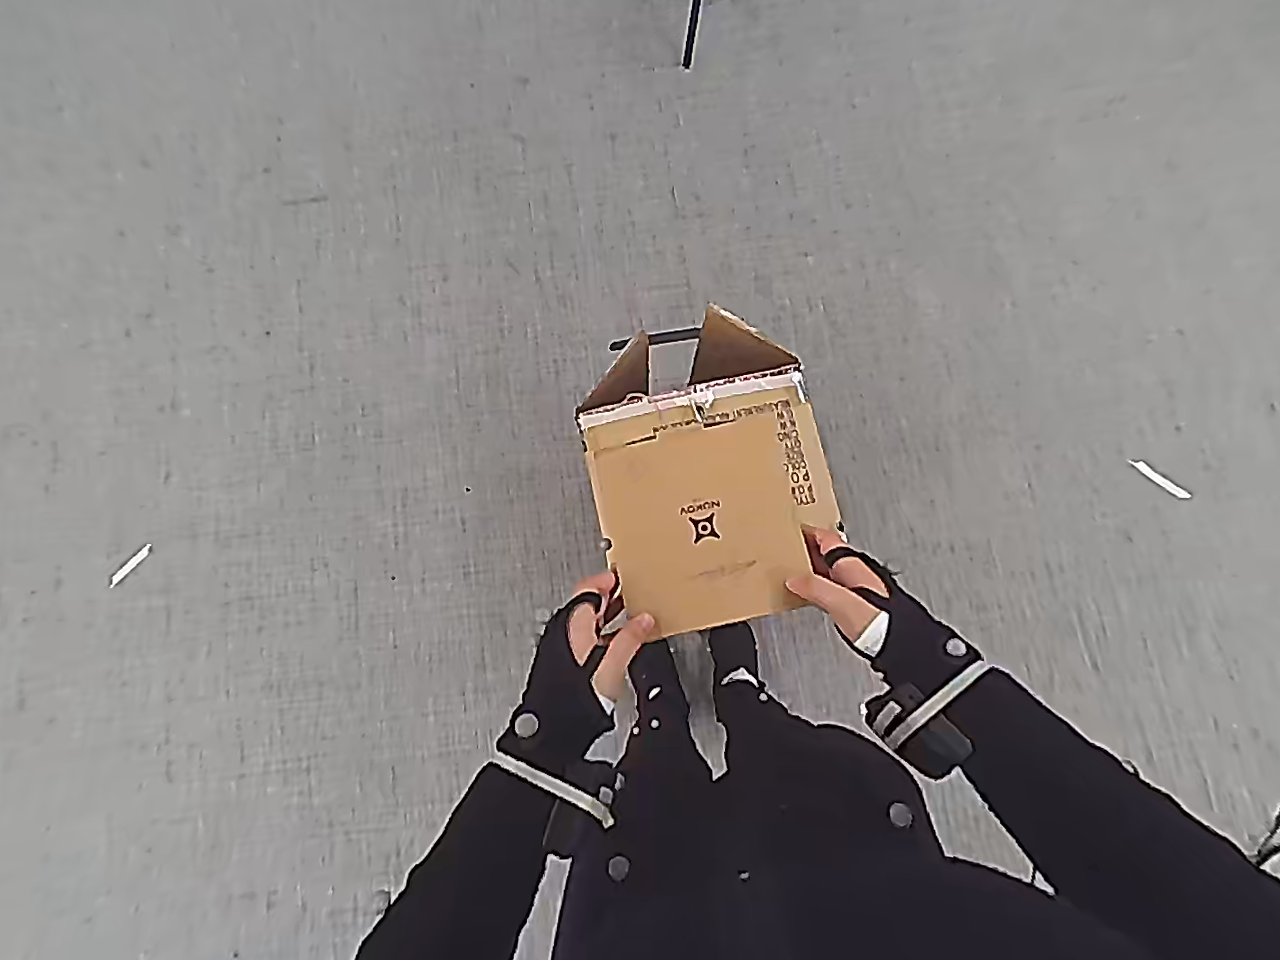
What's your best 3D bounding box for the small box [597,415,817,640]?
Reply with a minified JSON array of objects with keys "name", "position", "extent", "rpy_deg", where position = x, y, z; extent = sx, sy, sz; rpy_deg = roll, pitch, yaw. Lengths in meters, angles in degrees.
[{"name":"small box","position":[0.058,0.054,0.558],"extent":[0.168,0.176,0.179],"rpy_deg":[-13,80,0]}]
